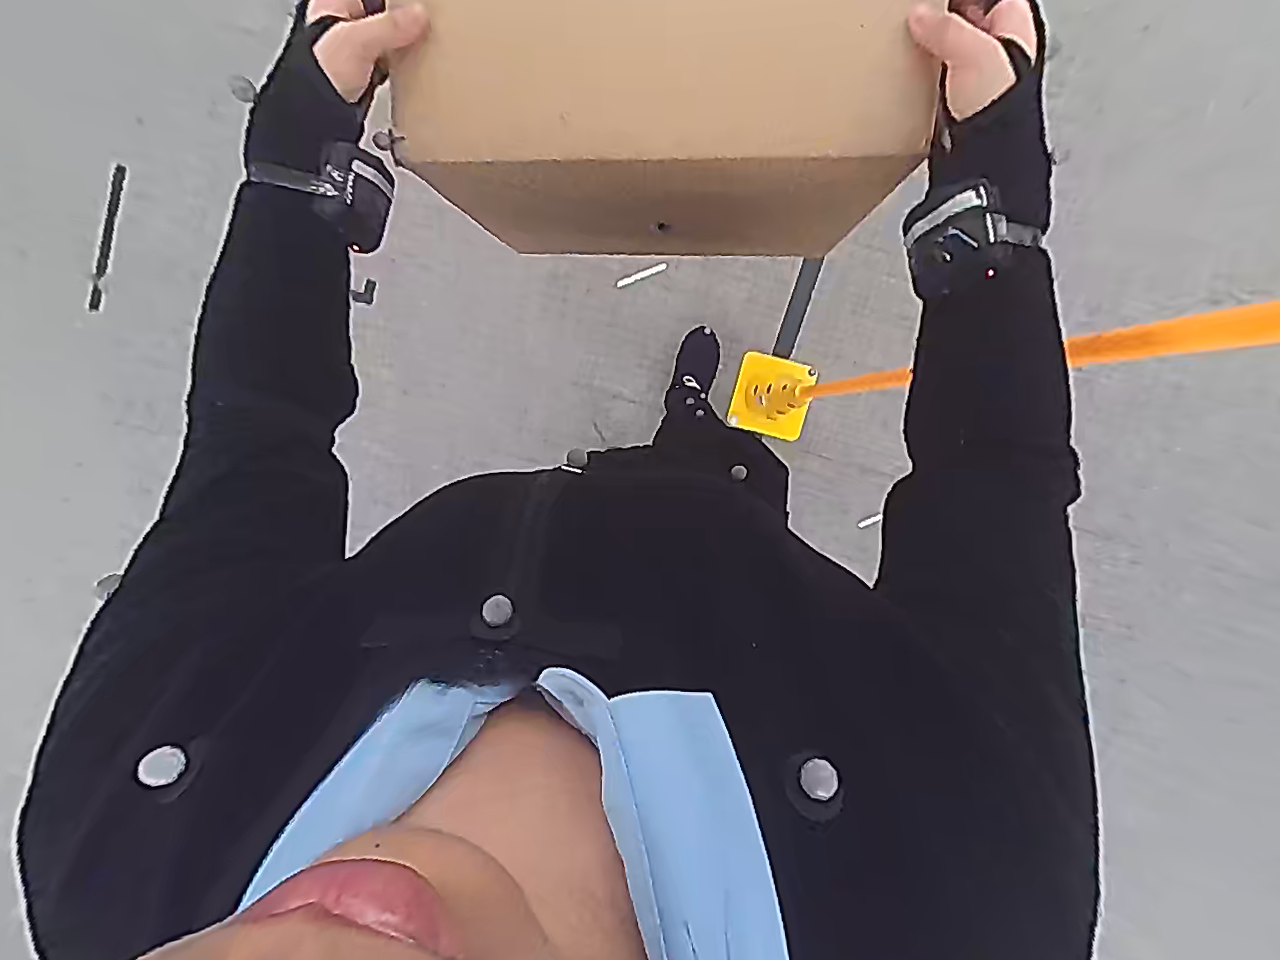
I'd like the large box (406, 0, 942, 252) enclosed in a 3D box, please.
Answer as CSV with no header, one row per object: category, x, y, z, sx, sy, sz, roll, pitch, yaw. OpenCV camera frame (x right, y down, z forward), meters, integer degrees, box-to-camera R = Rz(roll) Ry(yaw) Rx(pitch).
large box,0.036,-0.422,0.537,0.408,0.320,0.320,3,99,6
